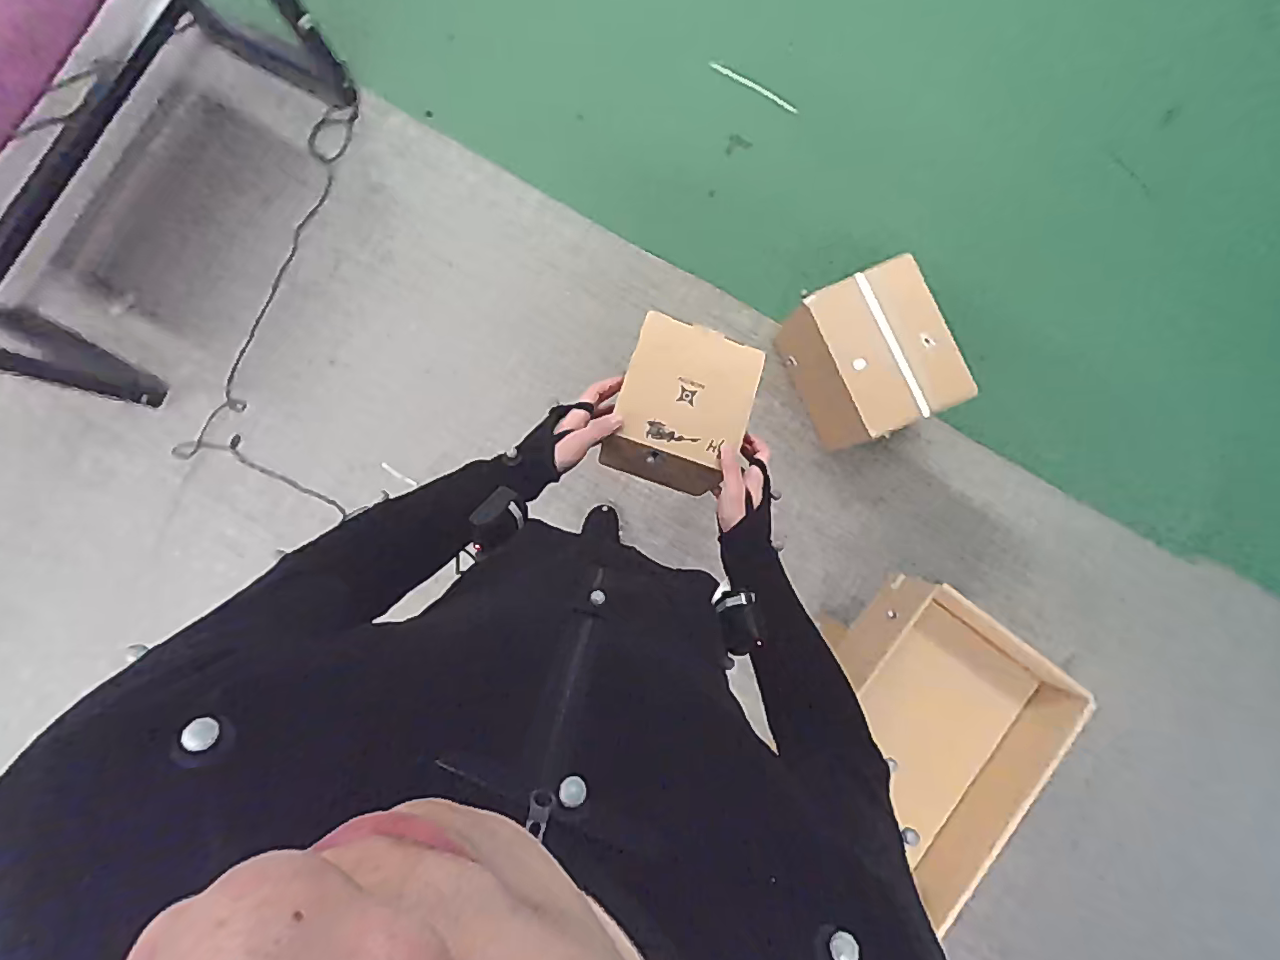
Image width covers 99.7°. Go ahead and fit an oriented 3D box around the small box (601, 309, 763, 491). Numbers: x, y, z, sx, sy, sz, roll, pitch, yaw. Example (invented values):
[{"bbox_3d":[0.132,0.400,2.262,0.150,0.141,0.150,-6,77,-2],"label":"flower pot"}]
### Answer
[{"bbox_3d":[0.048,-0.099,0.753,0.168,0.176,0.179,18,78,-5],"label":"small box"}]
